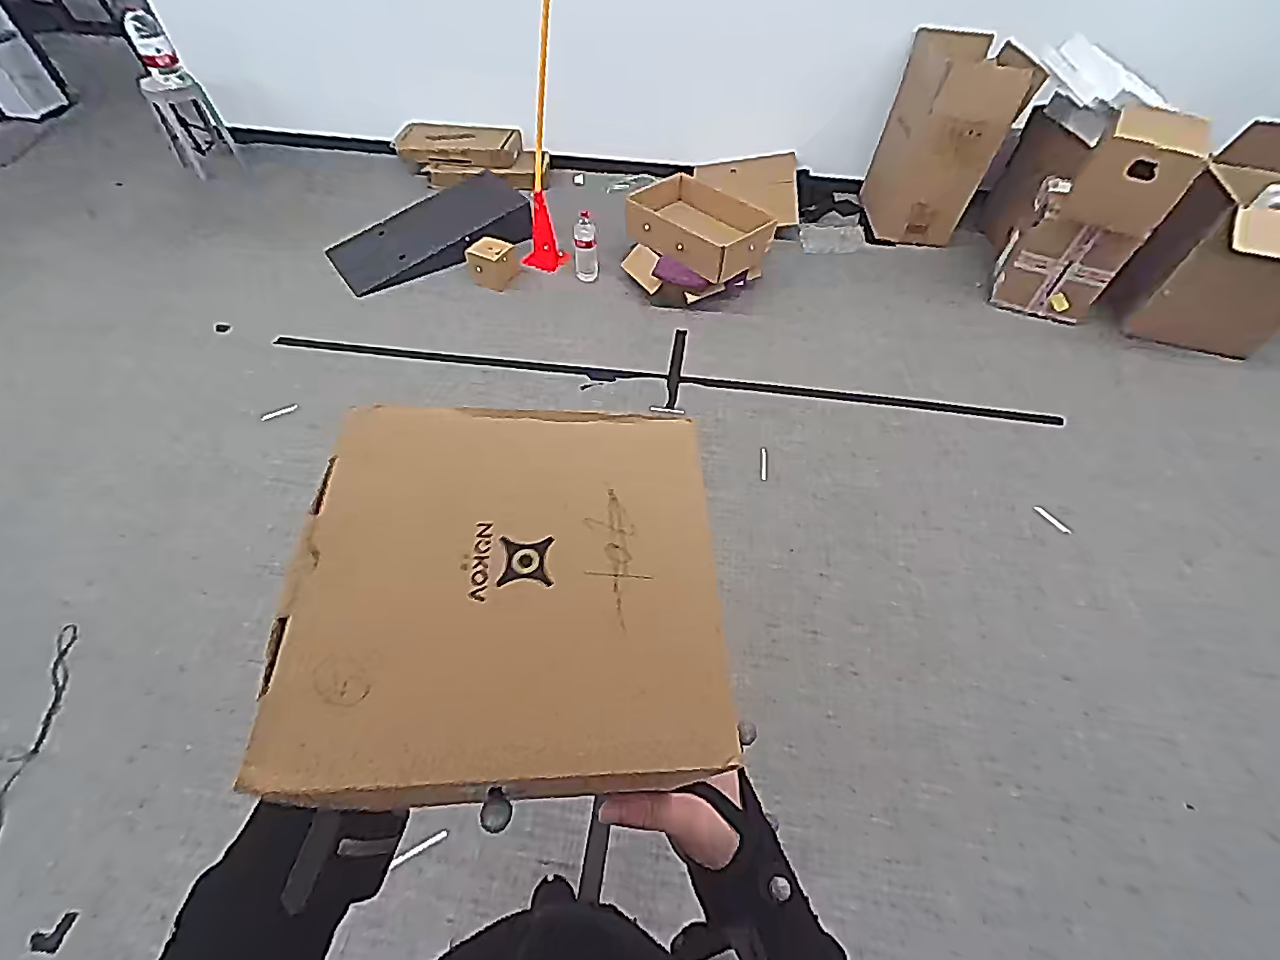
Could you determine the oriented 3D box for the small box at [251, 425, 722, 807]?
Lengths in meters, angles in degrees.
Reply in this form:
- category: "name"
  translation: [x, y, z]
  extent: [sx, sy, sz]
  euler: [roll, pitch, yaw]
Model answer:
- category: "small box"
  translation: [-0.067, 0.085, 0.309]
  extent: [0.179, 0.176, 0.168]
  euler: [0, 59, -8]
